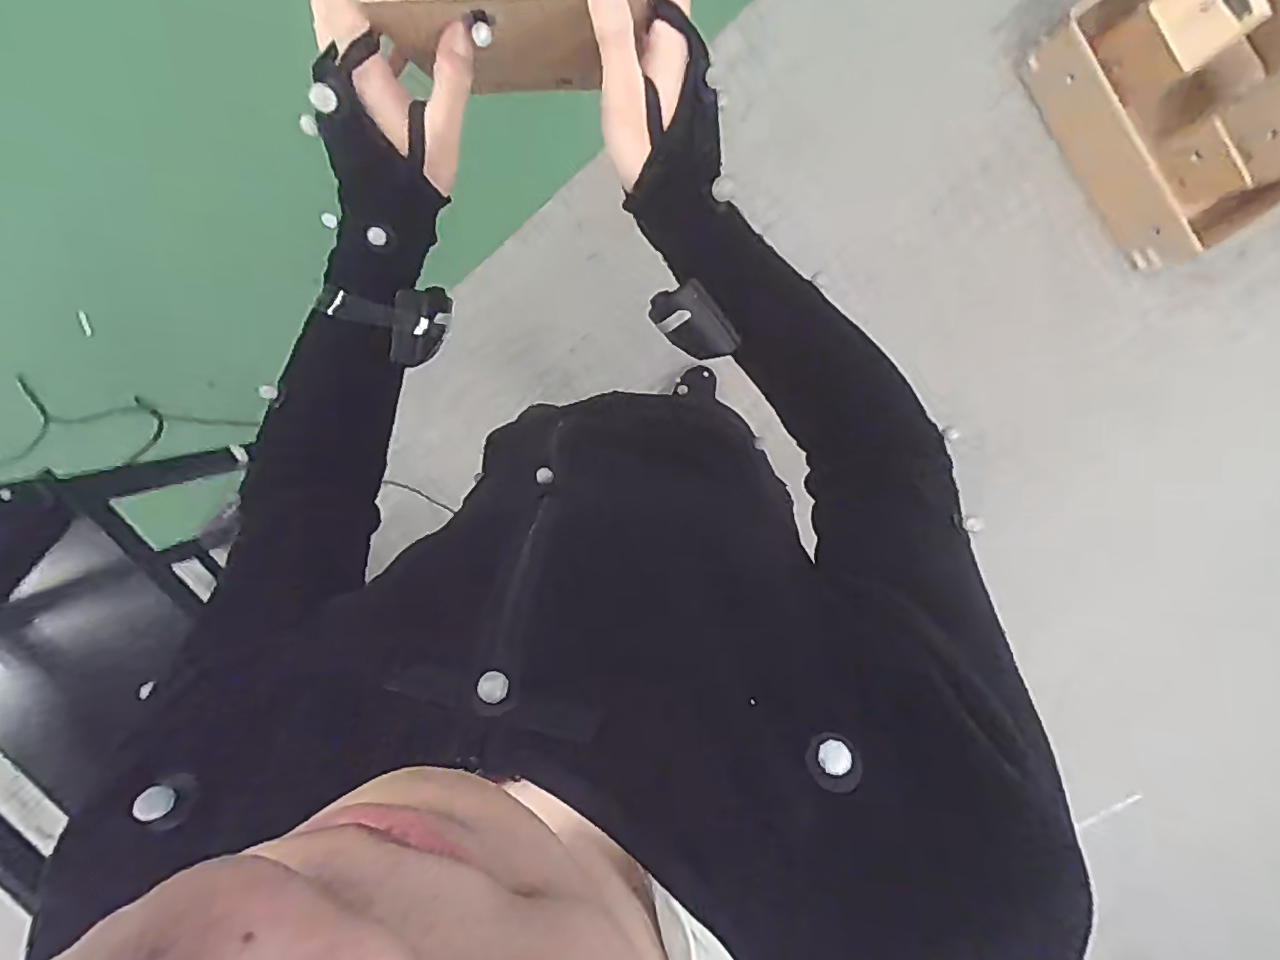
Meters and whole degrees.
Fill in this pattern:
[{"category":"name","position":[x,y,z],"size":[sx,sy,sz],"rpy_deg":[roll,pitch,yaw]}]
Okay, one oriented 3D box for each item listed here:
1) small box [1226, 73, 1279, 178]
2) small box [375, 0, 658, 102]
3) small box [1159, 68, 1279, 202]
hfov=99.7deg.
[{"category":"small box","position":[1.306,-0.723,1.039],"size":[0.179,0.176,0.168],"rpy_deg":[-35,96,12]},{"category":"small box","position":[-0.076,-0.376,0.354],"size":[0.168,0.176,0.179],"rpy_deg":[-2,111,-1]},{"category":"small box","position":[1.321,-0.757,1.200],"size":[0.179,0.176,0.168],"rpy_deg":[-35,96,12]}]
